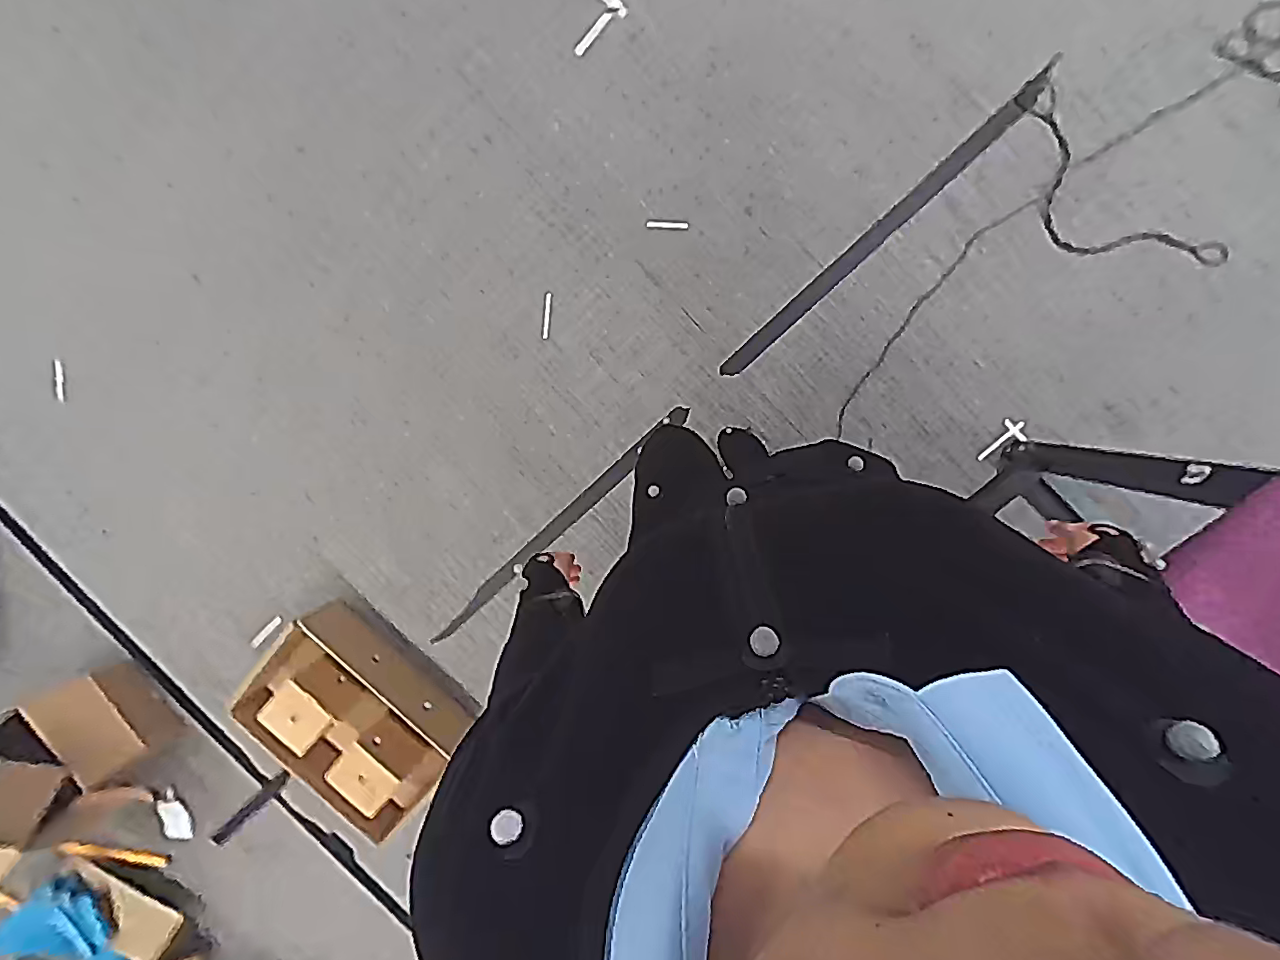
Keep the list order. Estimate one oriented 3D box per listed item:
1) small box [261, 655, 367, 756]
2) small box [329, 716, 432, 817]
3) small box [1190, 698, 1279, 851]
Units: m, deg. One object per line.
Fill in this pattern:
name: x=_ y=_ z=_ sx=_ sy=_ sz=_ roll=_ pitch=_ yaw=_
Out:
small box: x=-0.953 y=0.657 z=1.596 sx=0.168 sy=0.176 sz=0.179 roll=42 pitch=101 yaw=-1
small box: x=-0.759 y=0.830 z=1.595 sx=0.179 sy=0.176 sz=0.168 roll=40 pitch=102 yaw=1
small box: x=0.837 y=0.385 z=0.639 sx=0.168 sy=0.176 sz=0.179 roll=-44 pitch=91 yaw=12
